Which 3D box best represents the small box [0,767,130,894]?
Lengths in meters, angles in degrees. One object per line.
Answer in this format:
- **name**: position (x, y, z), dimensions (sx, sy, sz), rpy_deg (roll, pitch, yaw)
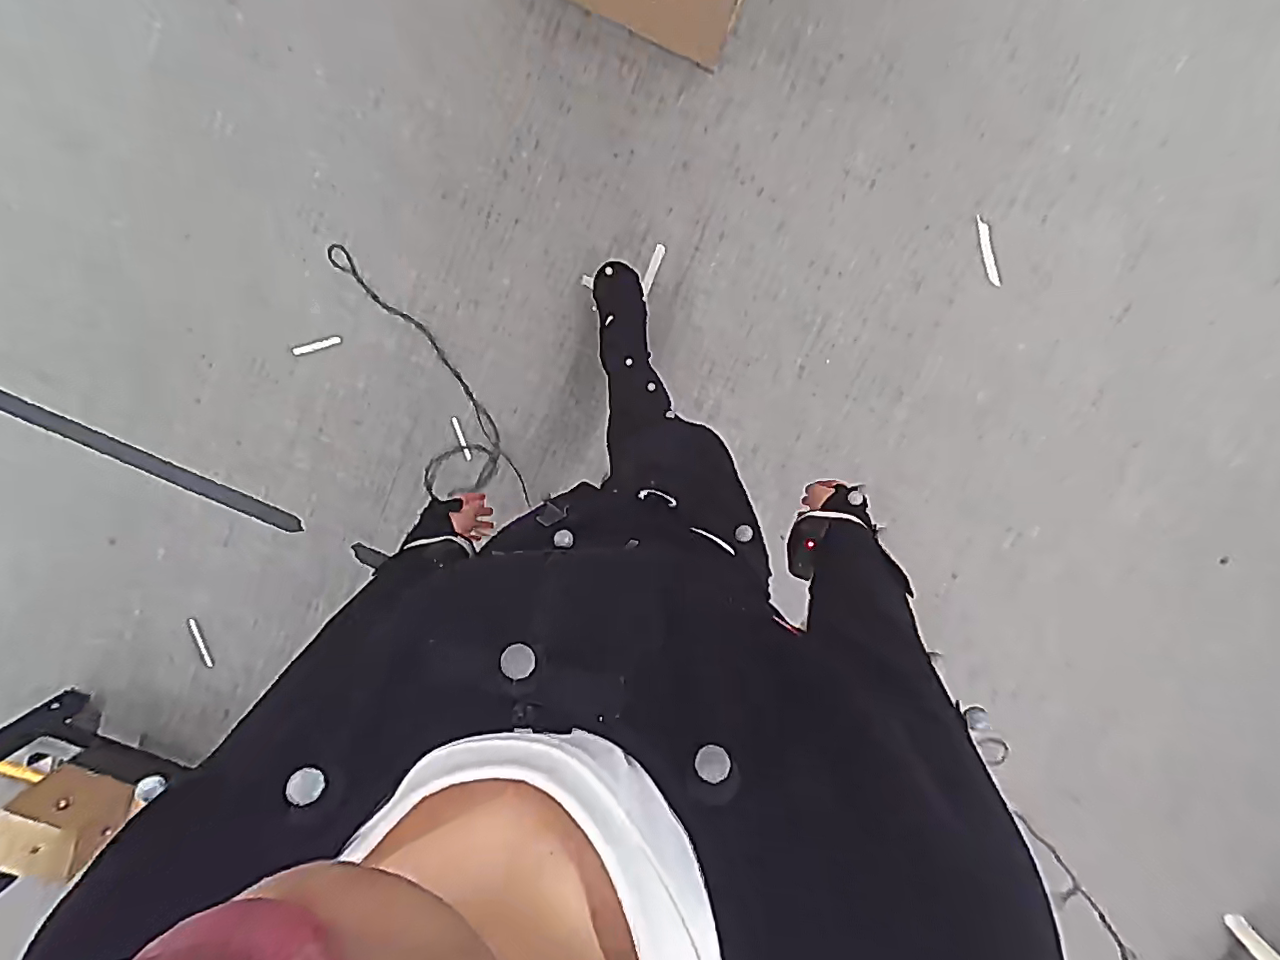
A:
- **small box**: position (-1.390, 0.827, 1.291), dimensions (0.179, 0.176, 0.168), rpy_deg (23, 99, -6)
